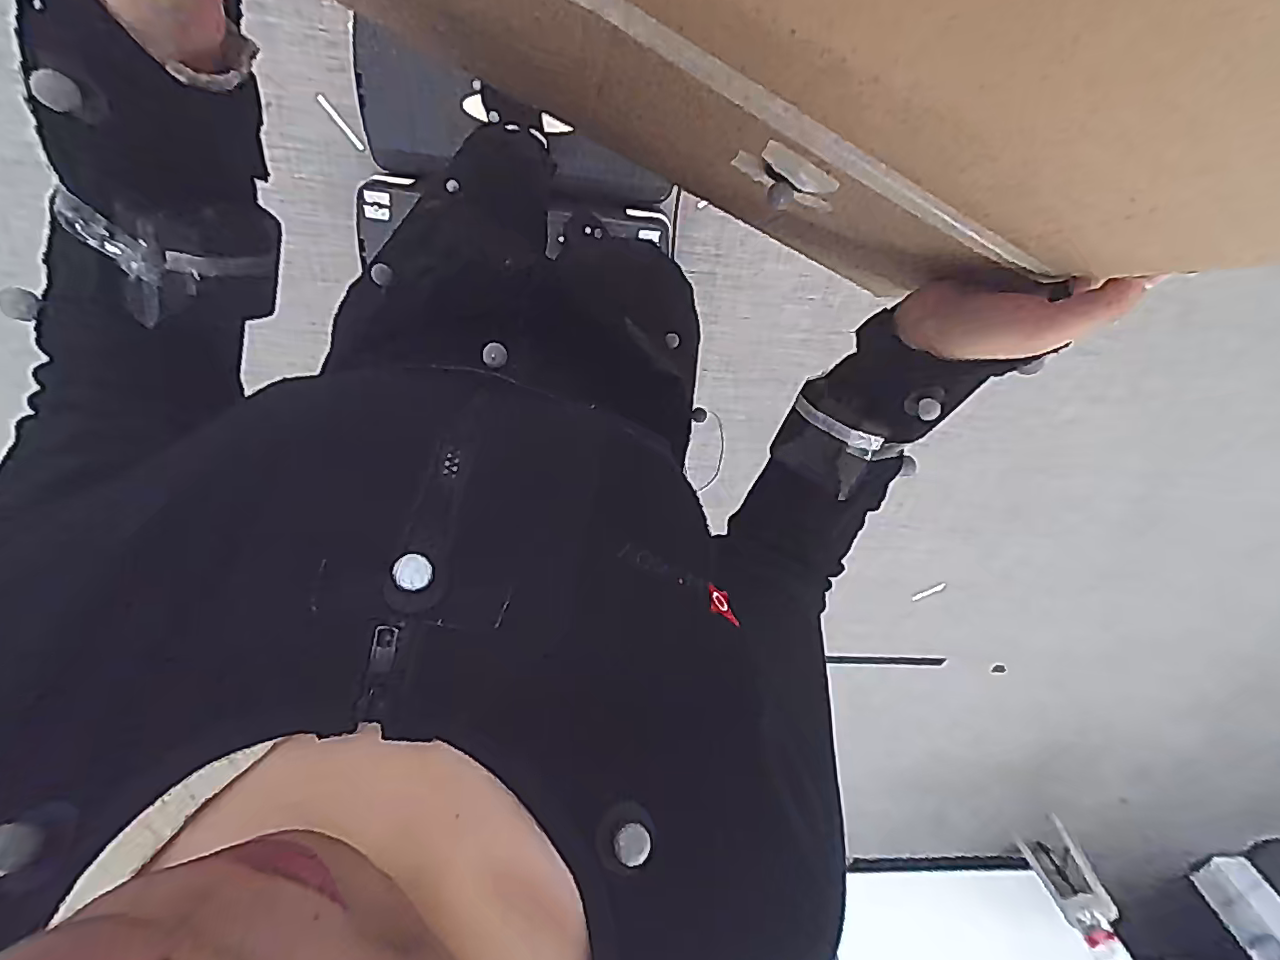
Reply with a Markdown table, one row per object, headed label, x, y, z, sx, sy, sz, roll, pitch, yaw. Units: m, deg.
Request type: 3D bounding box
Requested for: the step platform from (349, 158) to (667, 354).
| label | x | y | z | sx | sy | sz | roll | pitch | yaw |
| --- | --- | --- | --- | --- | --- | --- | --- | --- | --- |
| step platform | -0.284 | -0.503 | 1.241 | 0.684 | 0.204 | 0.286 | 9 | 122 | -9 |
